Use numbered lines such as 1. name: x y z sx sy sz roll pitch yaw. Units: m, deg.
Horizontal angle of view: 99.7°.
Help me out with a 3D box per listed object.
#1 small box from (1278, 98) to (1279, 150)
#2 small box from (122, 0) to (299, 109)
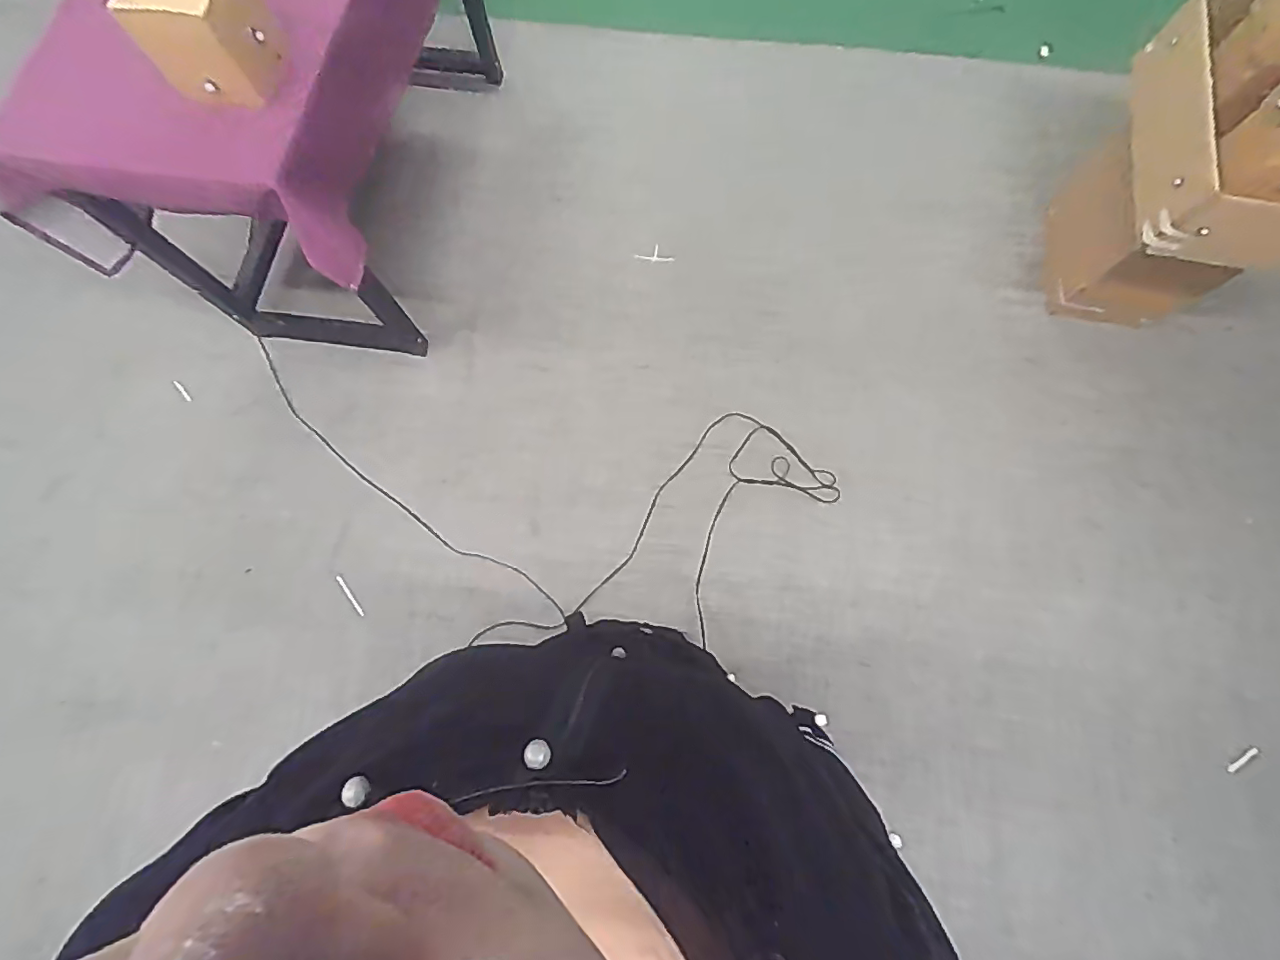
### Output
1. small box: 1.384 -0.725 1.016 0.179 0.176 0.168 14 75 7
2. small box: -0.789 -0.840 1.018 0.179 0.176 0.168 8 75 4
